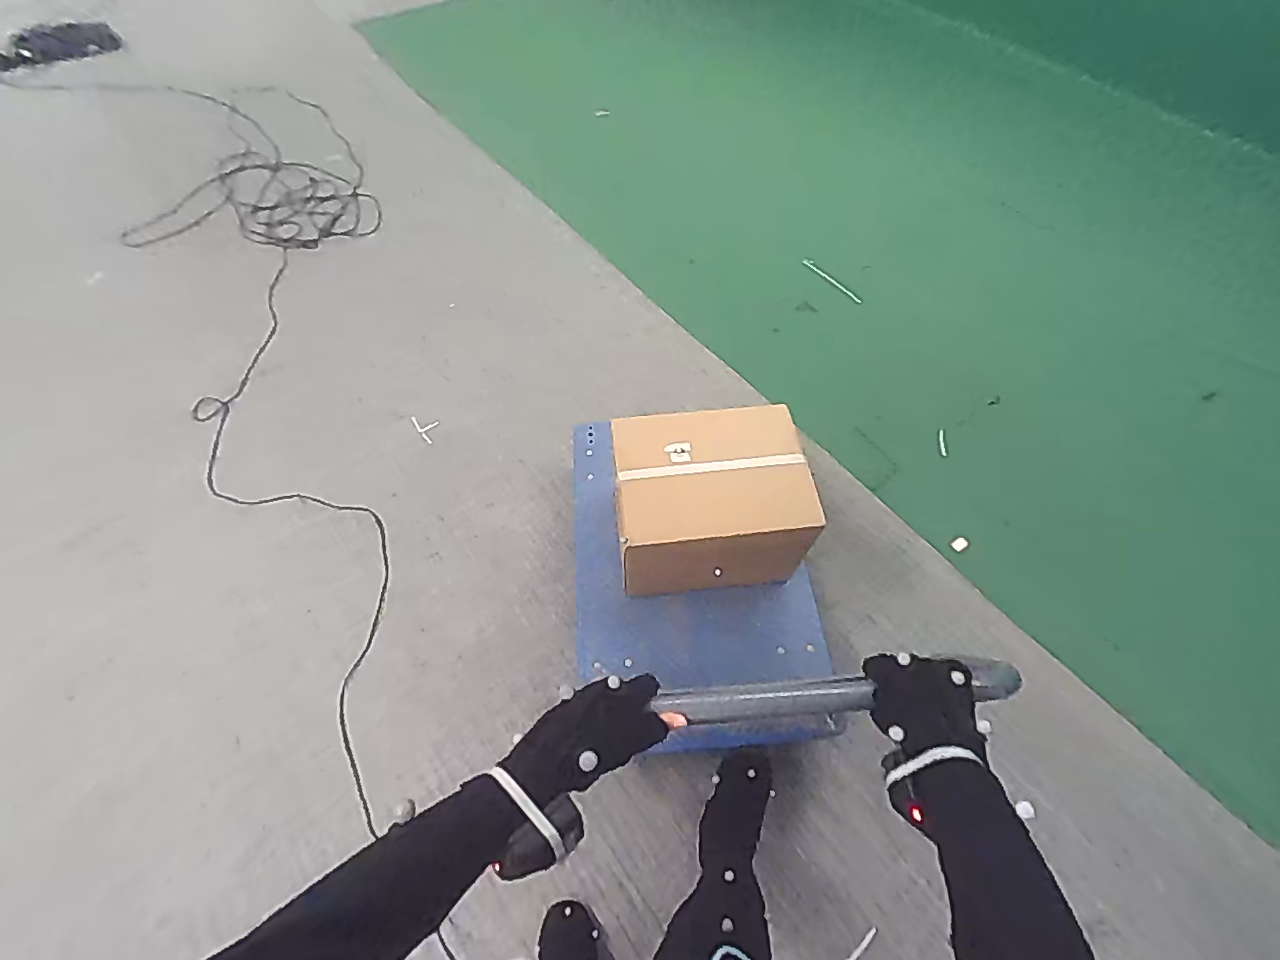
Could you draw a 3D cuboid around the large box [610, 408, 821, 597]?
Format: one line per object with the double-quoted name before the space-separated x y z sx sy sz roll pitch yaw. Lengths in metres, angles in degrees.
"large box" 0.149 0.062 1.271 0.408 0.320 0.320 -6 59 -4
